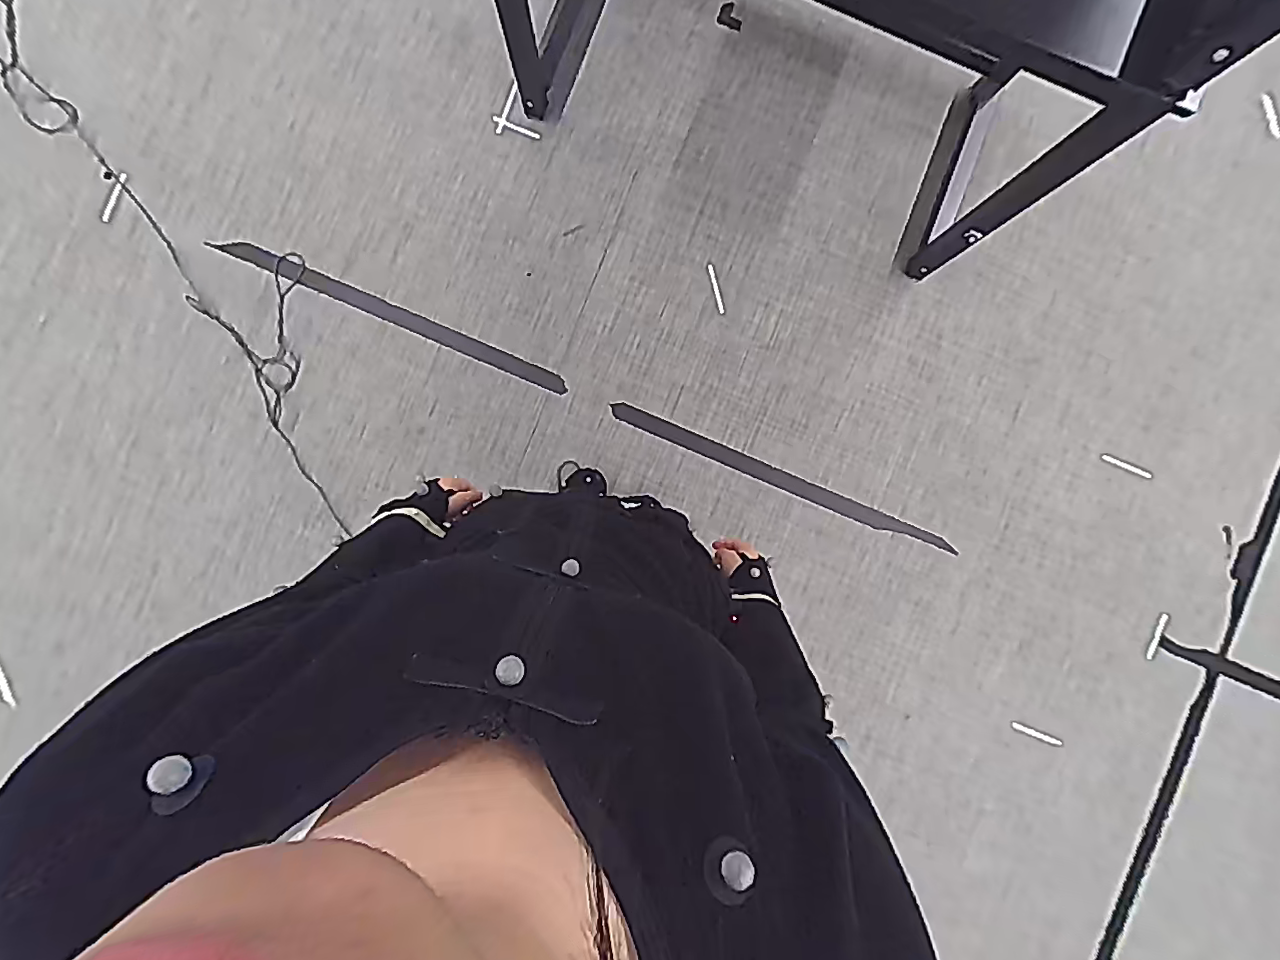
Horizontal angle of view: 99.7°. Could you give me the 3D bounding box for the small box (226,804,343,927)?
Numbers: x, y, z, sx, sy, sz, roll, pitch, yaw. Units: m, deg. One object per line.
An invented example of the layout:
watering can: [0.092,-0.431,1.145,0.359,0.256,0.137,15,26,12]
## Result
small box: [-0.887,0.964,1.369,0.168,0.176,0.179,16,90,-2]
